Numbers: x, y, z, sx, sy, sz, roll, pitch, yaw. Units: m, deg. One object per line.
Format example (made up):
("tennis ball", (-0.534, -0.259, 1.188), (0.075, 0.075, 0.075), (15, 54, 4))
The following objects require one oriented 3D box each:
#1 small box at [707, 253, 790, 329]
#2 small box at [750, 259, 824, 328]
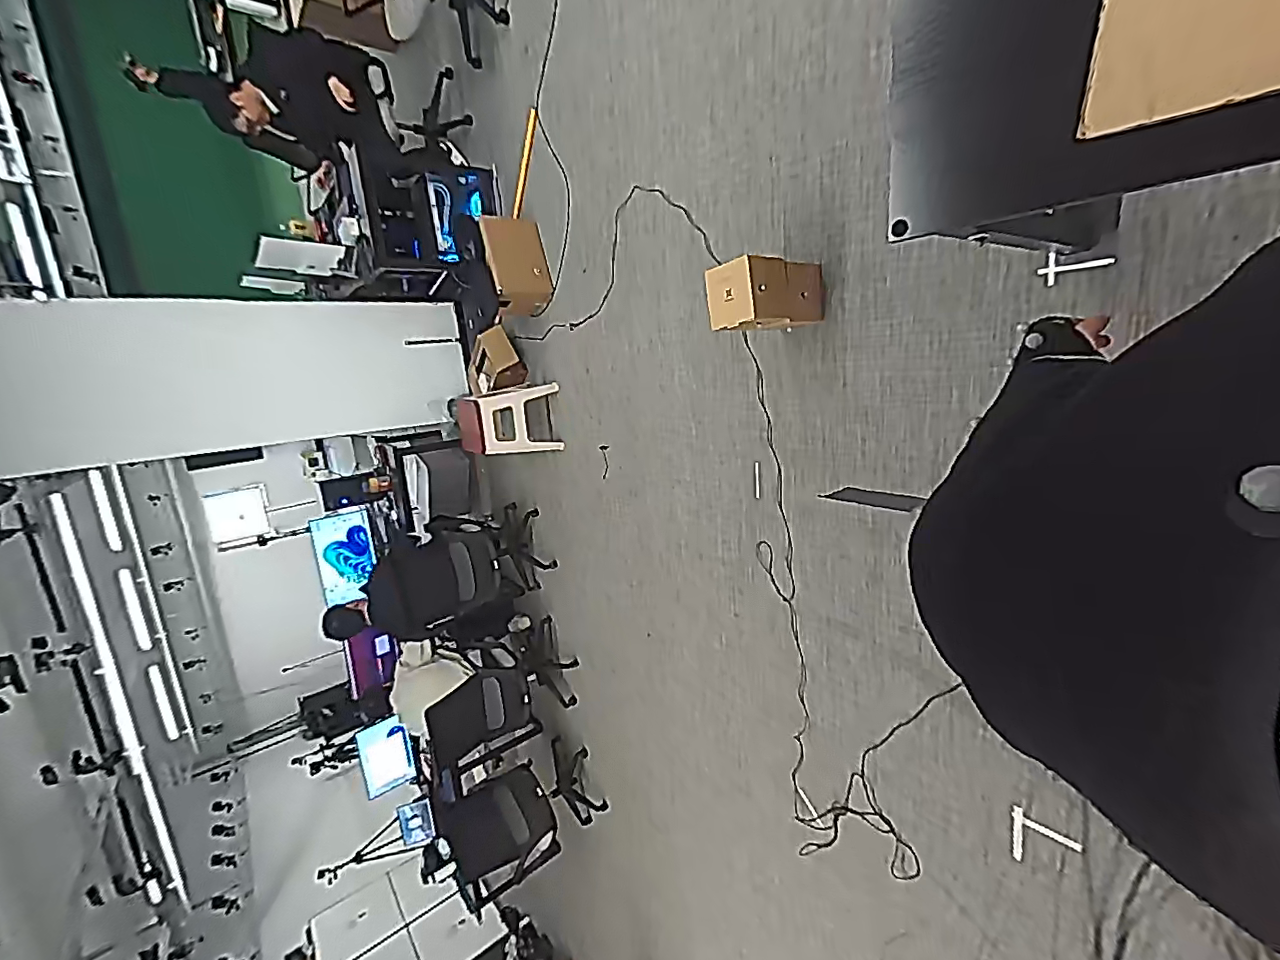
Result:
("small box", (0.322, -0.548, 1.579), (0.168, 0.176, 0.179), (1, 101, 52))
("small box", (0.450, -0.572, 1.677), (0.168, 0.176, 0.179), (6, 106, 52))
